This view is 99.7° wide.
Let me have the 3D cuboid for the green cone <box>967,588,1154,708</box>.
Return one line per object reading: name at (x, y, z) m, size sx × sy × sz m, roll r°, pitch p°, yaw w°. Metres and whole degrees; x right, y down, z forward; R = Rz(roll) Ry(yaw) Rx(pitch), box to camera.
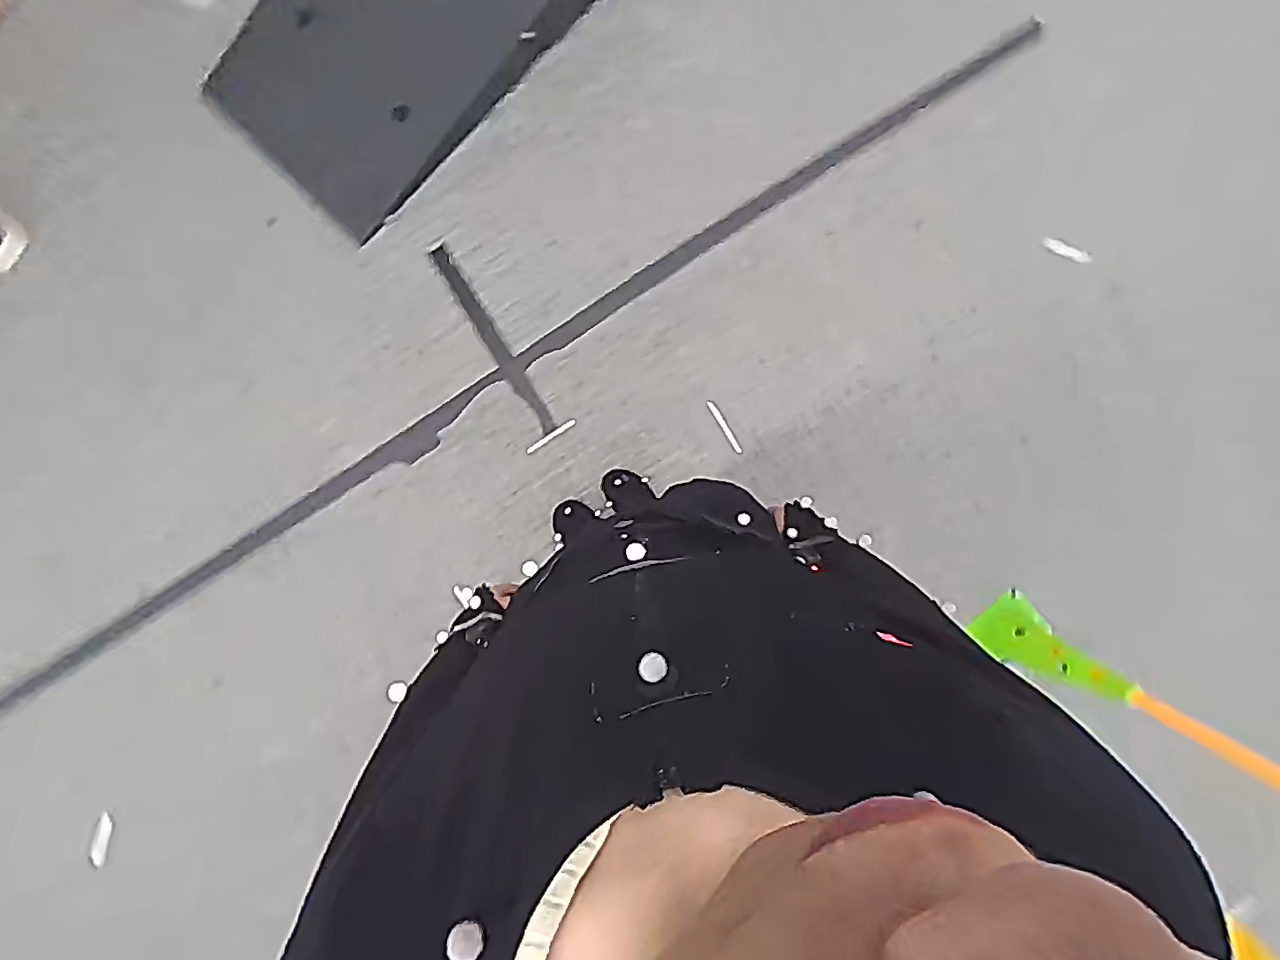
green cone at (1.015, 0.432, 1.283) m, size 0.200 × 0.368 × 0.202 m, roll -43°, pitch 97°, yaw 0°
